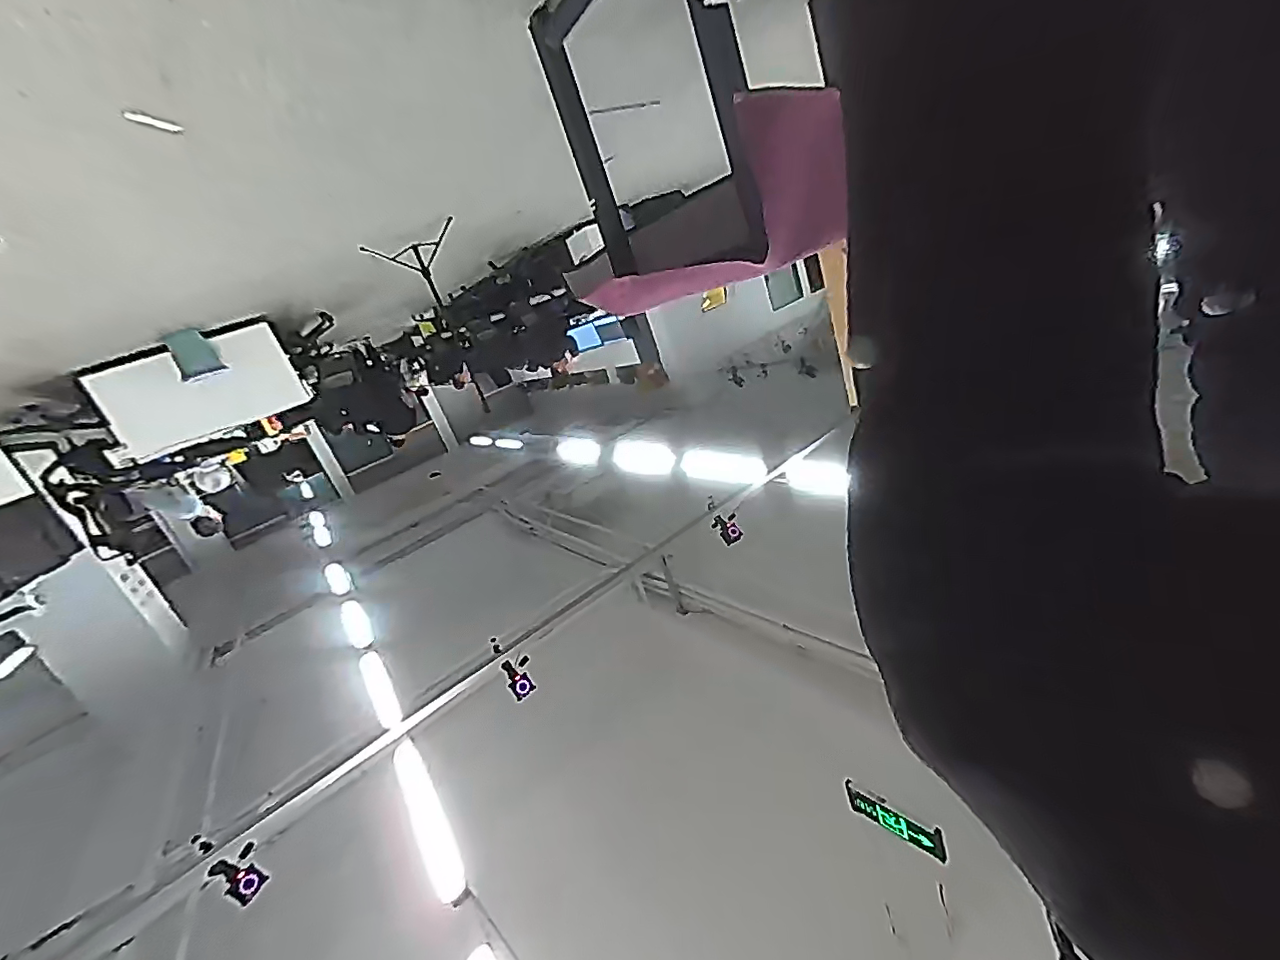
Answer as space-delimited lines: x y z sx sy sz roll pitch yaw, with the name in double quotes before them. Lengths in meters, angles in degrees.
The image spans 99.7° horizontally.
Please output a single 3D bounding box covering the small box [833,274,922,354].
"small box" 0.674 -0.475 1.548 0.168 0.176 0.179 -32 -158 -29
